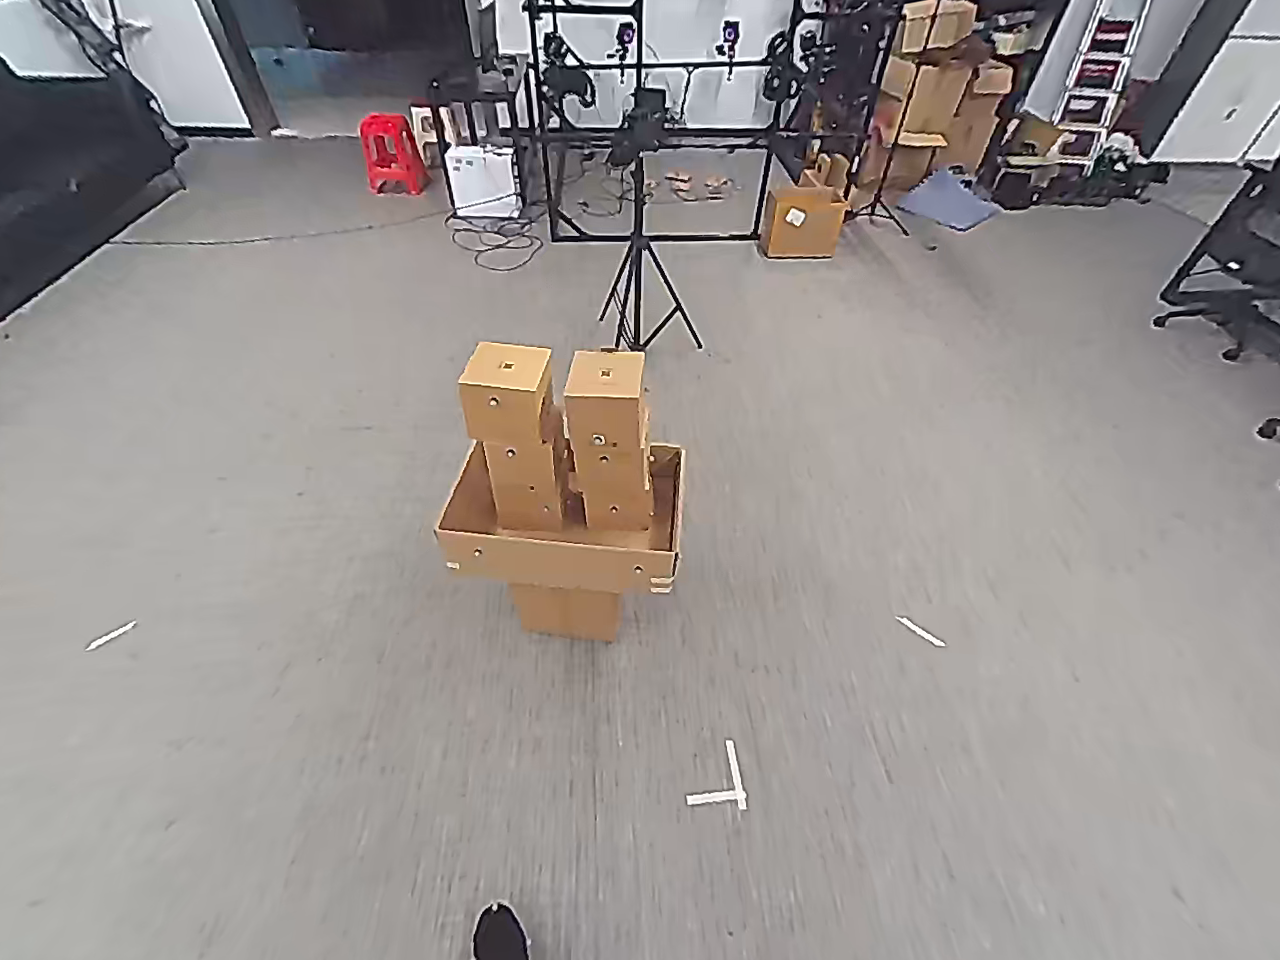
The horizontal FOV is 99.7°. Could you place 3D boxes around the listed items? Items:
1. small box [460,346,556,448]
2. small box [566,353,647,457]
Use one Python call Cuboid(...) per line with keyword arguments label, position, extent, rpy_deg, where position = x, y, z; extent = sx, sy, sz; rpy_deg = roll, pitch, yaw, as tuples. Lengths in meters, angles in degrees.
Cuboid(label="small box", position=(-0.299, -0.193, 1.273), extent=(0.179, 0.176, 0.168), rpy_deg=(6, 46, 2))
Cuboid(label="small box", position=(-0.070, -0.176, 1.261), extent=(0.168, 0.176, 0.179), rpy_deg=(2, 46, 4))
